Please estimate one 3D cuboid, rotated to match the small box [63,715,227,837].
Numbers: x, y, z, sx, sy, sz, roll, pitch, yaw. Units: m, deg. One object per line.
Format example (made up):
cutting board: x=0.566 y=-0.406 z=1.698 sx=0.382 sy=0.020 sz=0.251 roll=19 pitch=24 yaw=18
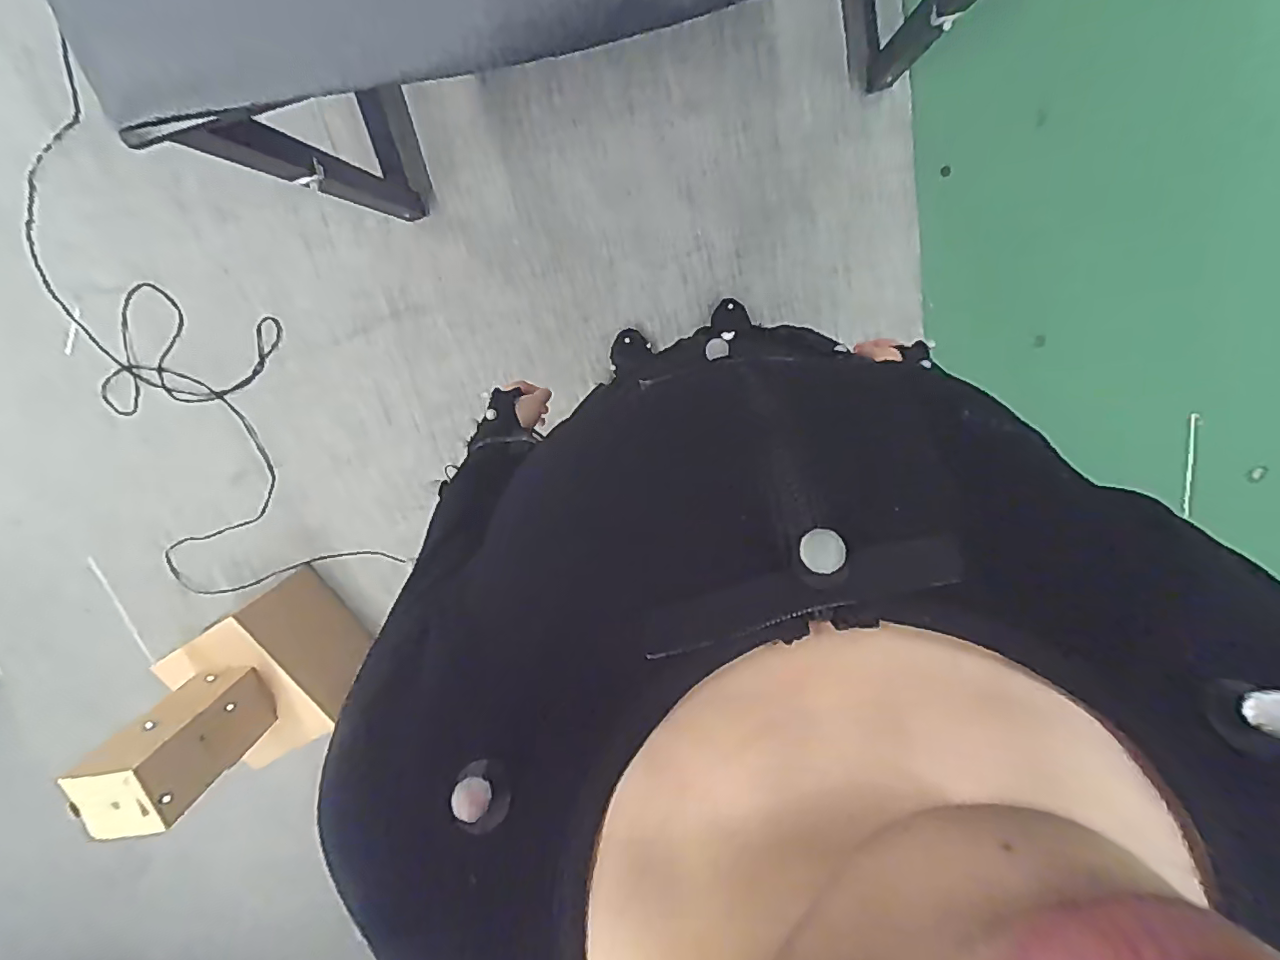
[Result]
small box: x=-1.077 y=0.647 z=1.193 sx=0.179 sy=0.176 sz=0.168 roll=-9 pitch=107 yaw=7
